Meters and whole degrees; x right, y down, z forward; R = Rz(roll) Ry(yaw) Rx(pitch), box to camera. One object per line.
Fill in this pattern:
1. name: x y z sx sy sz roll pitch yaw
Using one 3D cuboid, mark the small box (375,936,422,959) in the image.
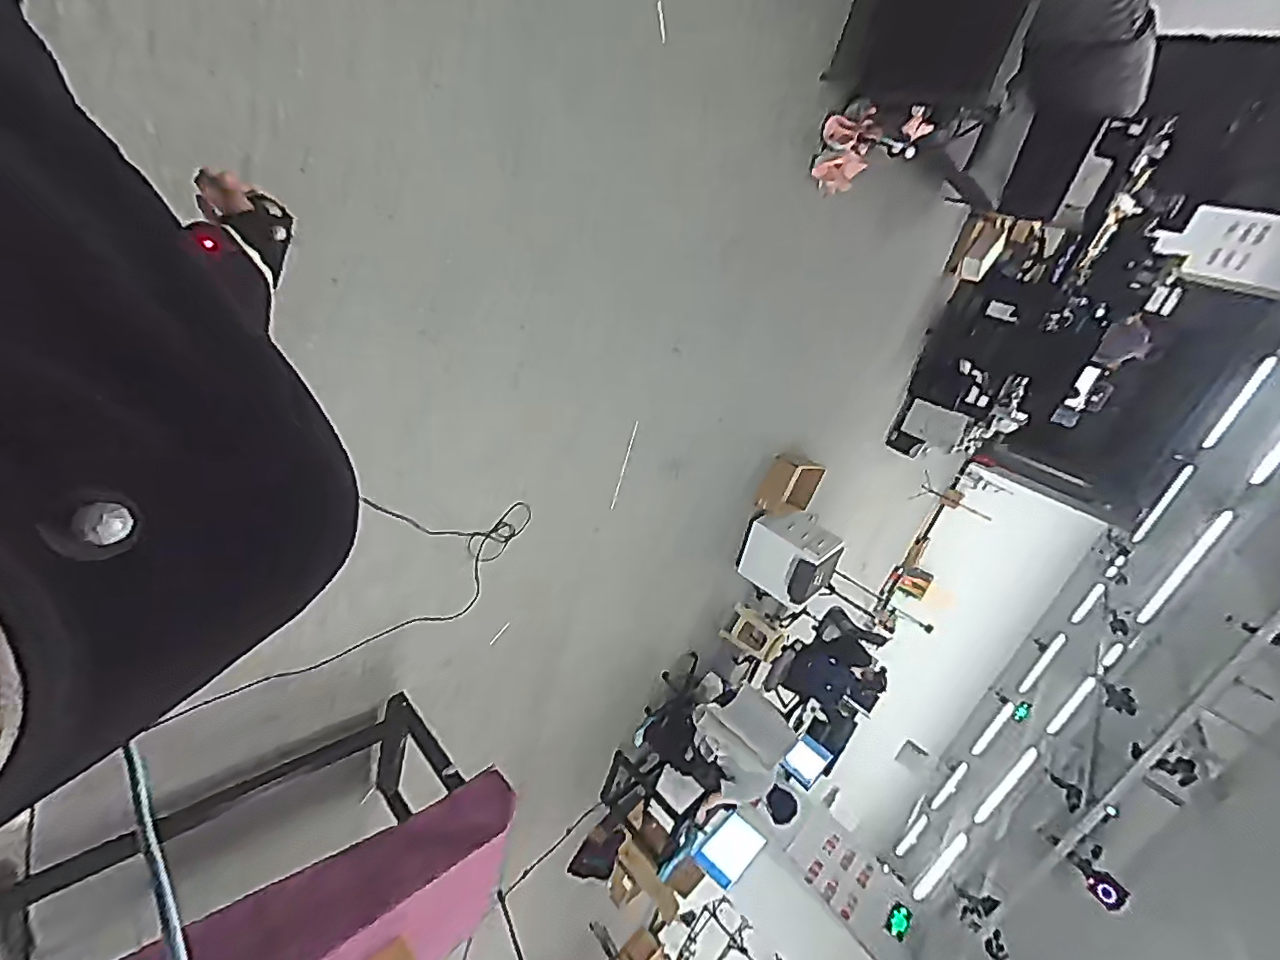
1. small box: -0.738 1.525 1.606 0.179 0.176 0.168 -11 126 -47
